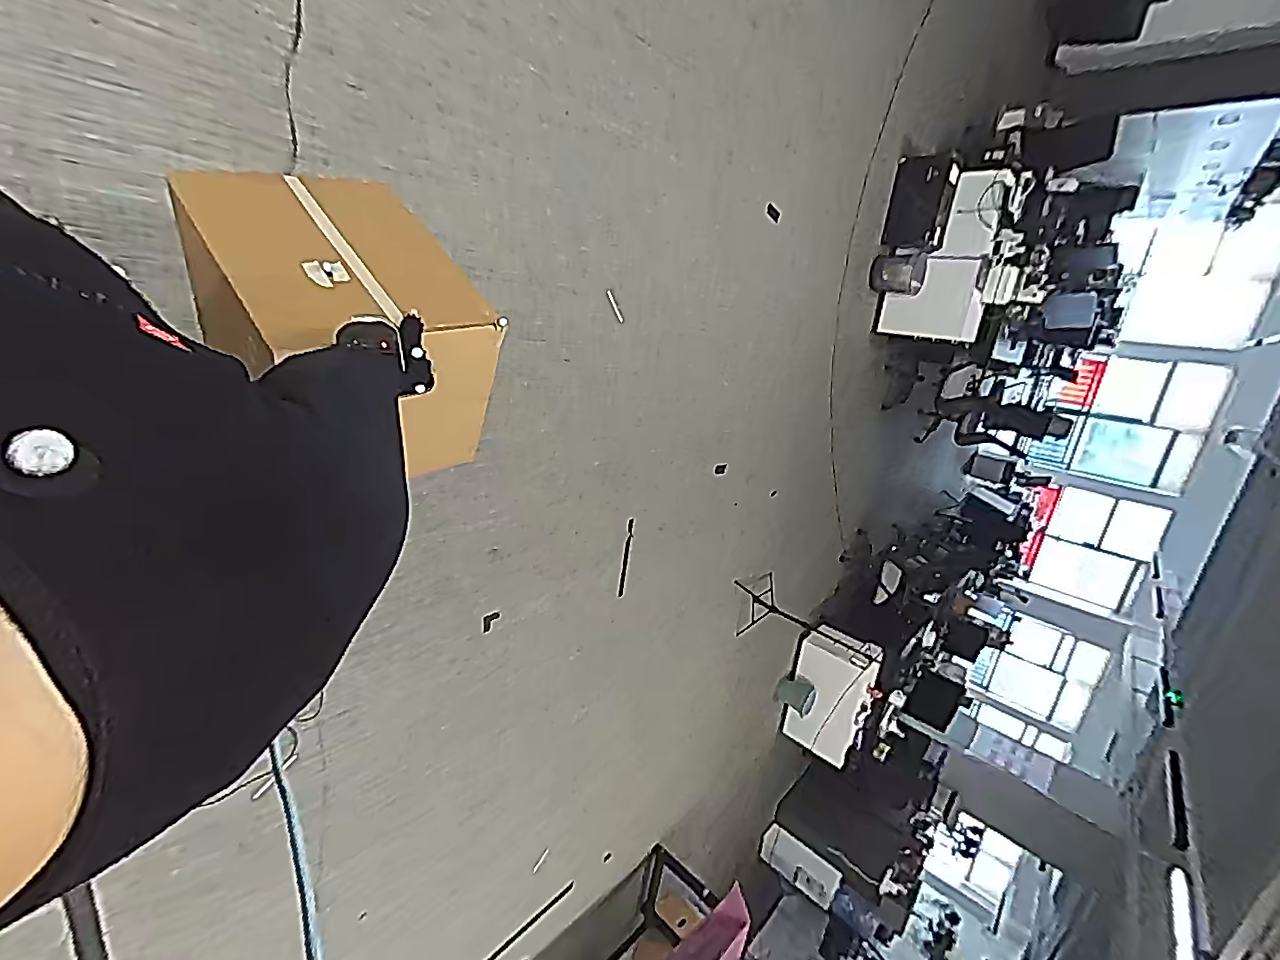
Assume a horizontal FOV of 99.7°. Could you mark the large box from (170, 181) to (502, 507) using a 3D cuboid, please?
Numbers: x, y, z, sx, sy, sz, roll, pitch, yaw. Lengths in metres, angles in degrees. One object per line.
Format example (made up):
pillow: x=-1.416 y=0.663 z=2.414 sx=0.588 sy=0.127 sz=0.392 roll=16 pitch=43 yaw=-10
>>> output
large box: x=-0.499 y=-0.231 z=0.904 sx=0.320 sy=0.408 sz=0.320 roll=-24 pitch=155 yaw=-41
